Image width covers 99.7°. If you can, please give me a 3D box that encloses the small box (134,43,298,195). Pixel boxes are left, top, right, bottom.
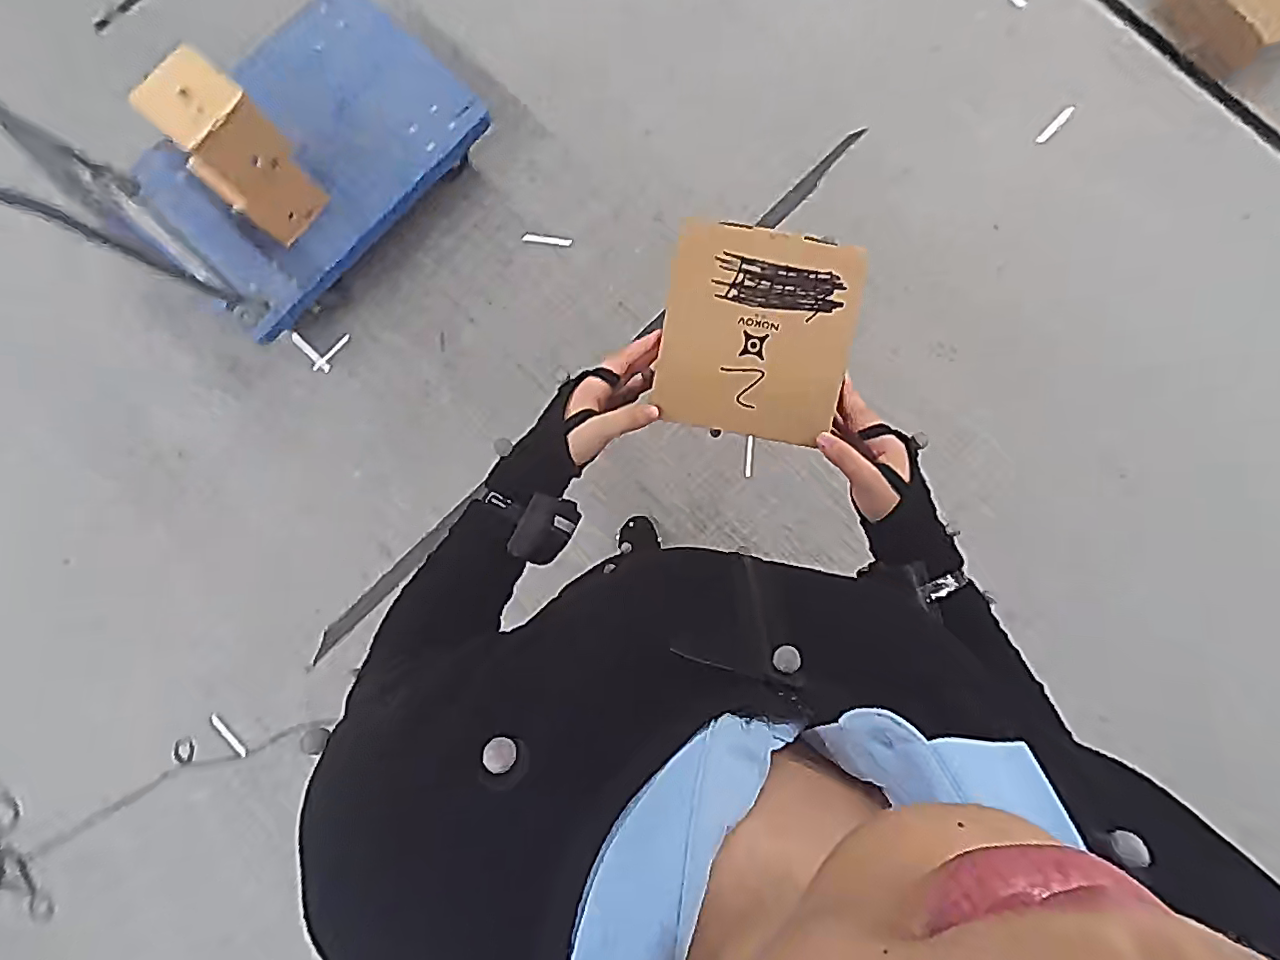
[{"bbox_3d":[-0.894,-0.759,1.156,0.179,0.176,0.168,41,86,3],"label":"small box"}]

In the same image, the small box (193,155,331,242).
[{"bbox_3d":[-0.911,-0.725,1.319,0.179,0.176,0.168,40,86,3],"label":"small box"}]
